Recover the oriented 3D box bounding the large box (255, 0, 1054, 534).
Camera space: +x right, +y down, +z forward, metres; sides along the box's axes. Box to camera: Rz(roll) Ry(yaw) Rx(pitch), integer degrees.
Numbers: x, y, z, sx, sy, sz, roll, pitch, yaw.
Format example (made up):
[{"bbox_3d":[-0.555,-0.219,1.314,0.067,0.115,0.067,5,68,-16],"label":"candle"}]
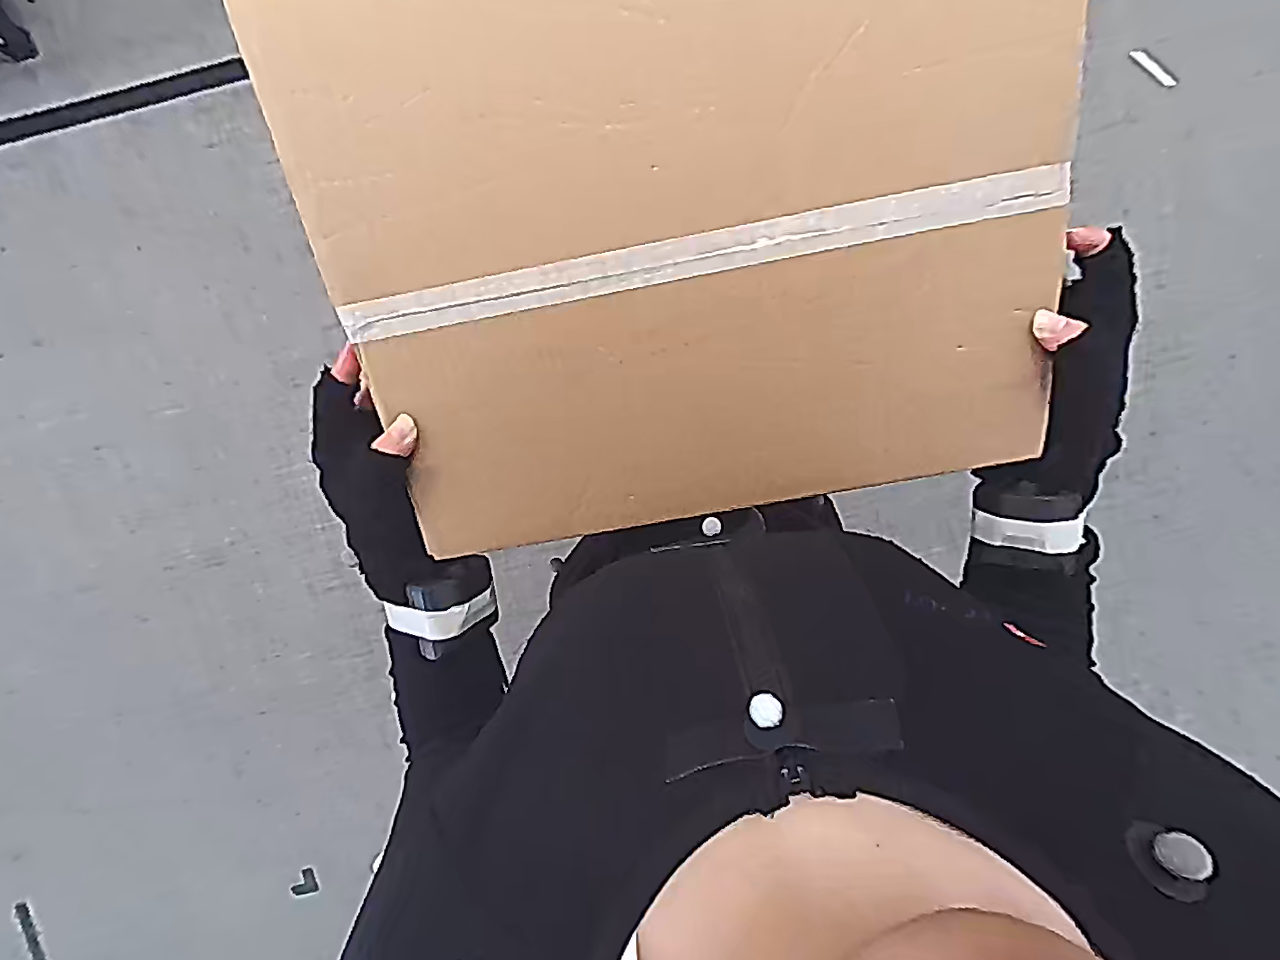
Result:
[{"bbox_3d":[0.022,-0.189,0.450,0.408,0.320,0.320,-10,112,2],"label":"large box"}]
